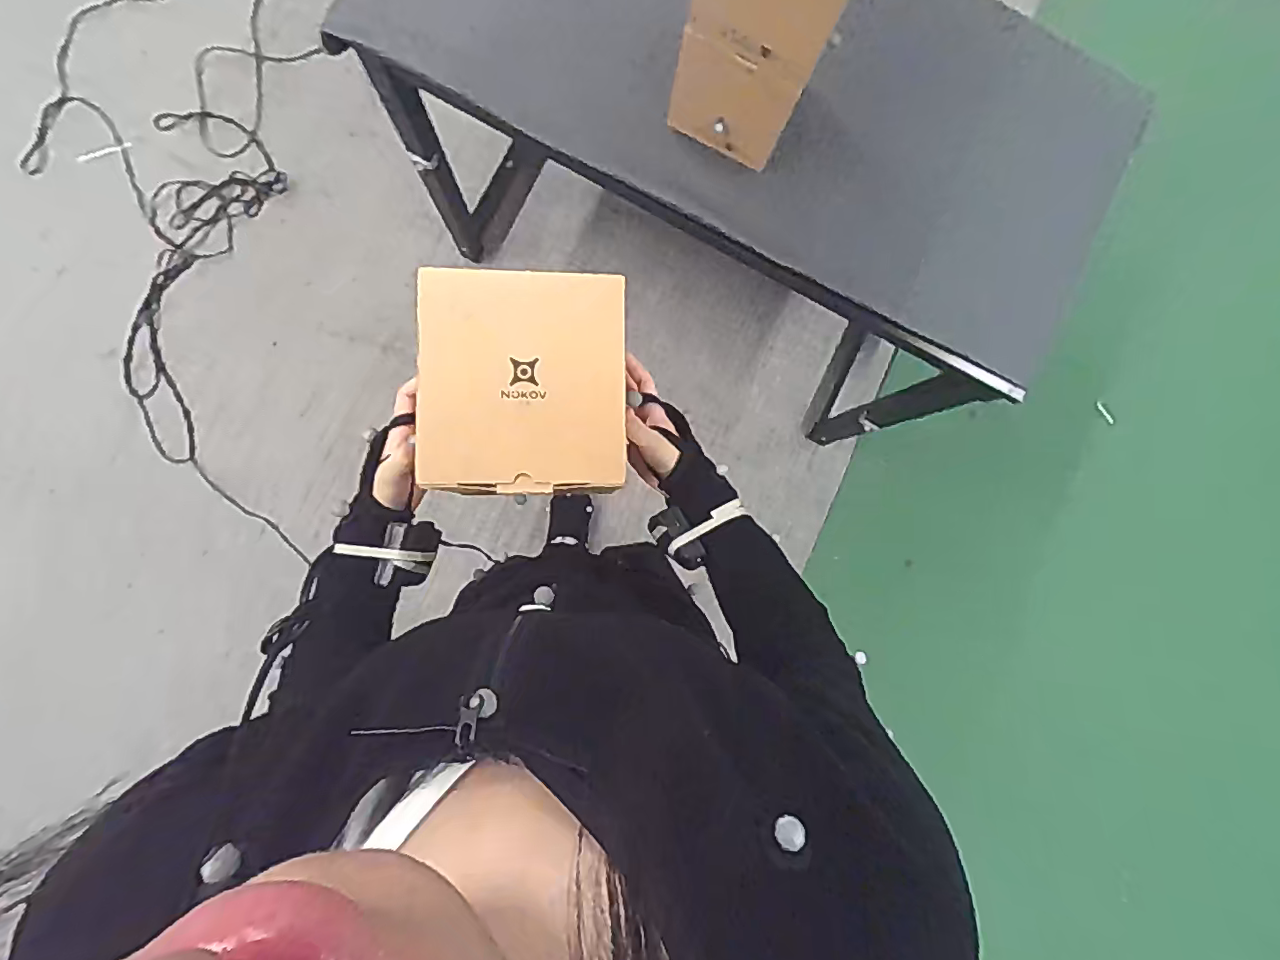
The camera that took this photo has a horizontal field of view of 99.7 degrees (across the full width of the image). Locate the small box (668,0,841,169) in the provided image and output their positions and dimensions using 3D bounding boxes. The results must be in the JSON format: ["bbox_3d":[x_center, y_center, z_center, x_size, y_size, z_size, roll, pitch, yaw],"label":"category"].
[{"bbox_3d":[0.151,-0.597,0.768,0.168,0.176,0.179,25,84,-3],"label":"small box"}]

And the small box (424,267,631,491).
[{"bbox_3d":[-0.100,-0.079,0.515,0.168,0.176,0.179,-1,89,-8],"label":"small box"}]
